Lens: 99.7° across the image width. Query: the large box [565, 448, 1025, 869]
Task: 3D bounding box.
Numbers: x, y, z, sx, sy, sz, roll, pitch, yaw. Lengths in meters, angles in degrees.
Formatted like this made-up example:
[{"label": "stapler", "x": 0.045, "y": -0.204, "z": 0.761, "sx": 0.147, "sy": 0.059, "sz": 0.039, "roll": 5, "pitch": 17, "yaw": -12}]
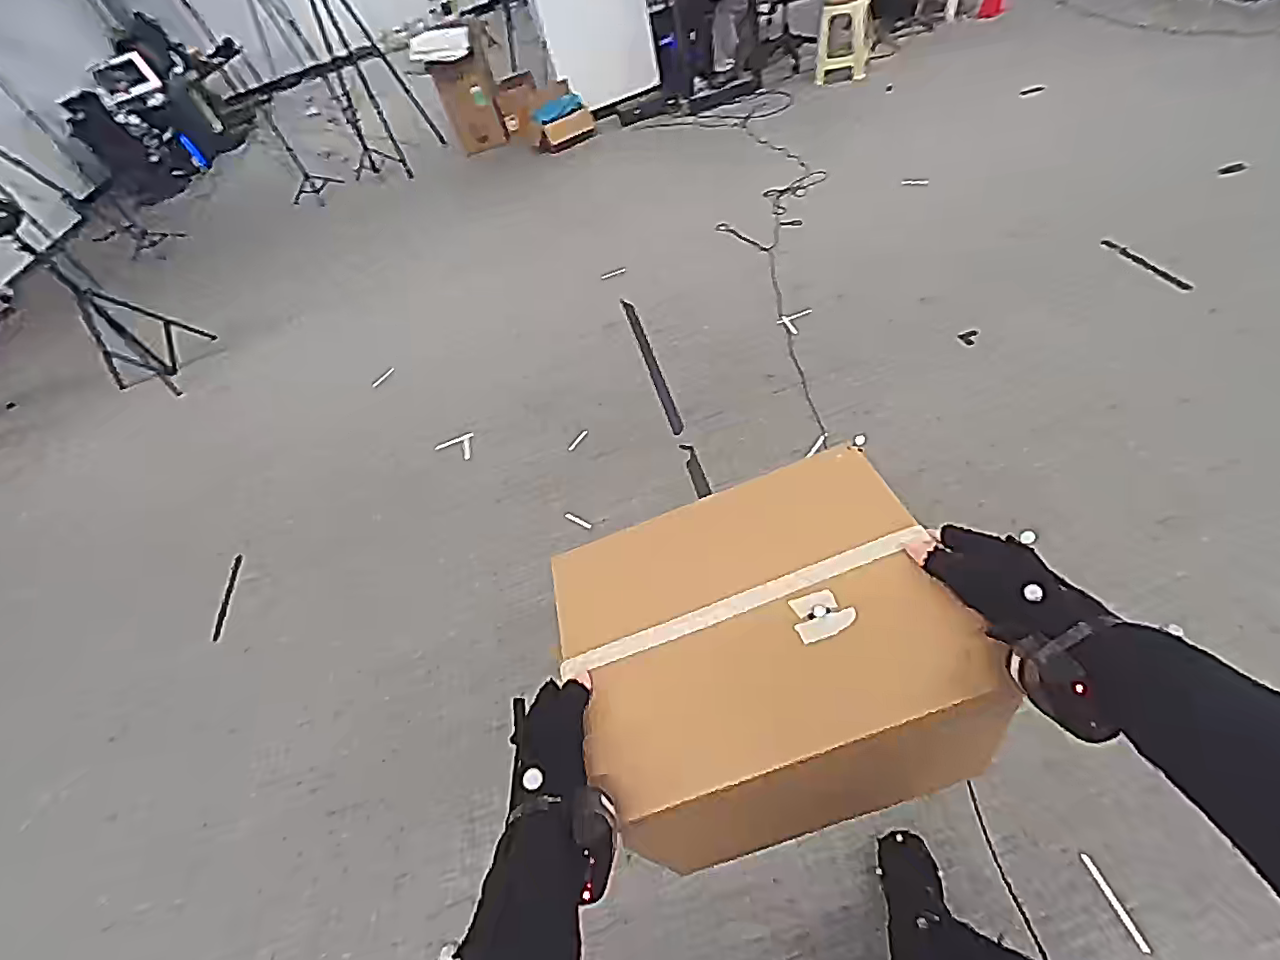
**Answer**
[{"label": "large box", "x": 0.162, "y": 0.229, "z": 0.684, "sx": 0.408, "sy": 0.320, "sz": 0.320, "roll": -21, "pitch": 45, "yaw": 3}]
